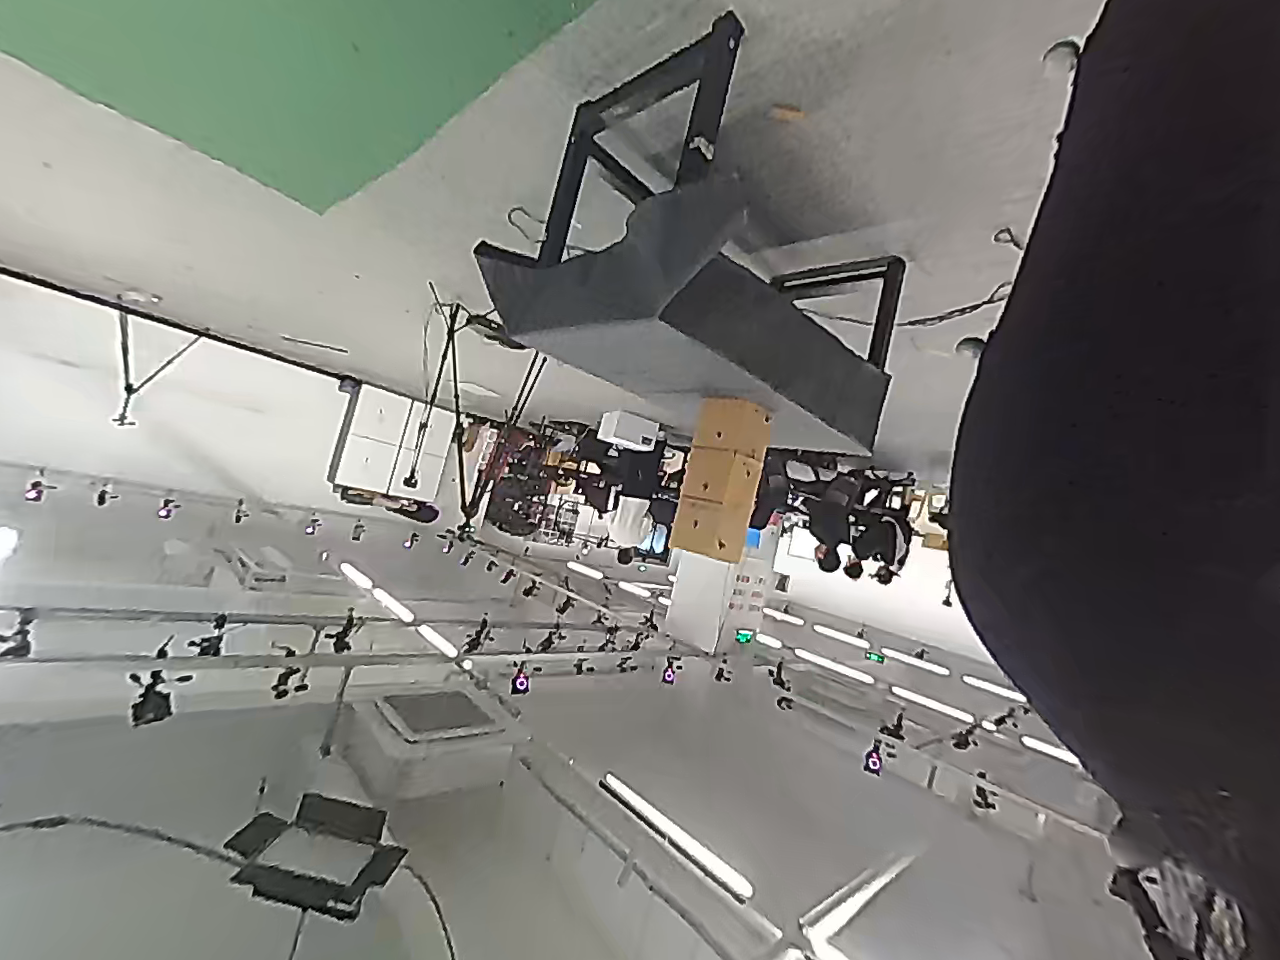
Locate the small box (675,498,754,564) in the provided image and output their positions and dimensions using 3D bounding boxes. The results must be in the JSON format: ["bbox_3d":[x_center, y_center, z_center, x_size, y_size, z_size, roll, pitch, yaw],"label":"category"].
[{"bbox_3d":[0.239,0.158,1.717,0.168,0.176,0.179,10,174,44],"label":"small box"}]

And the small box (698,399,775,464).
[{"bbox_3d":[0.317,-0.158,1.744,0.168,0.176,0.179,18,176,-44],"label":"small box"}]

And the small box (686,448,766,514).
[{"bbox_3d":[0.278,-0.001,1.732,0.179,0.176,0.168,9,174,46],"label":"small box"}]
